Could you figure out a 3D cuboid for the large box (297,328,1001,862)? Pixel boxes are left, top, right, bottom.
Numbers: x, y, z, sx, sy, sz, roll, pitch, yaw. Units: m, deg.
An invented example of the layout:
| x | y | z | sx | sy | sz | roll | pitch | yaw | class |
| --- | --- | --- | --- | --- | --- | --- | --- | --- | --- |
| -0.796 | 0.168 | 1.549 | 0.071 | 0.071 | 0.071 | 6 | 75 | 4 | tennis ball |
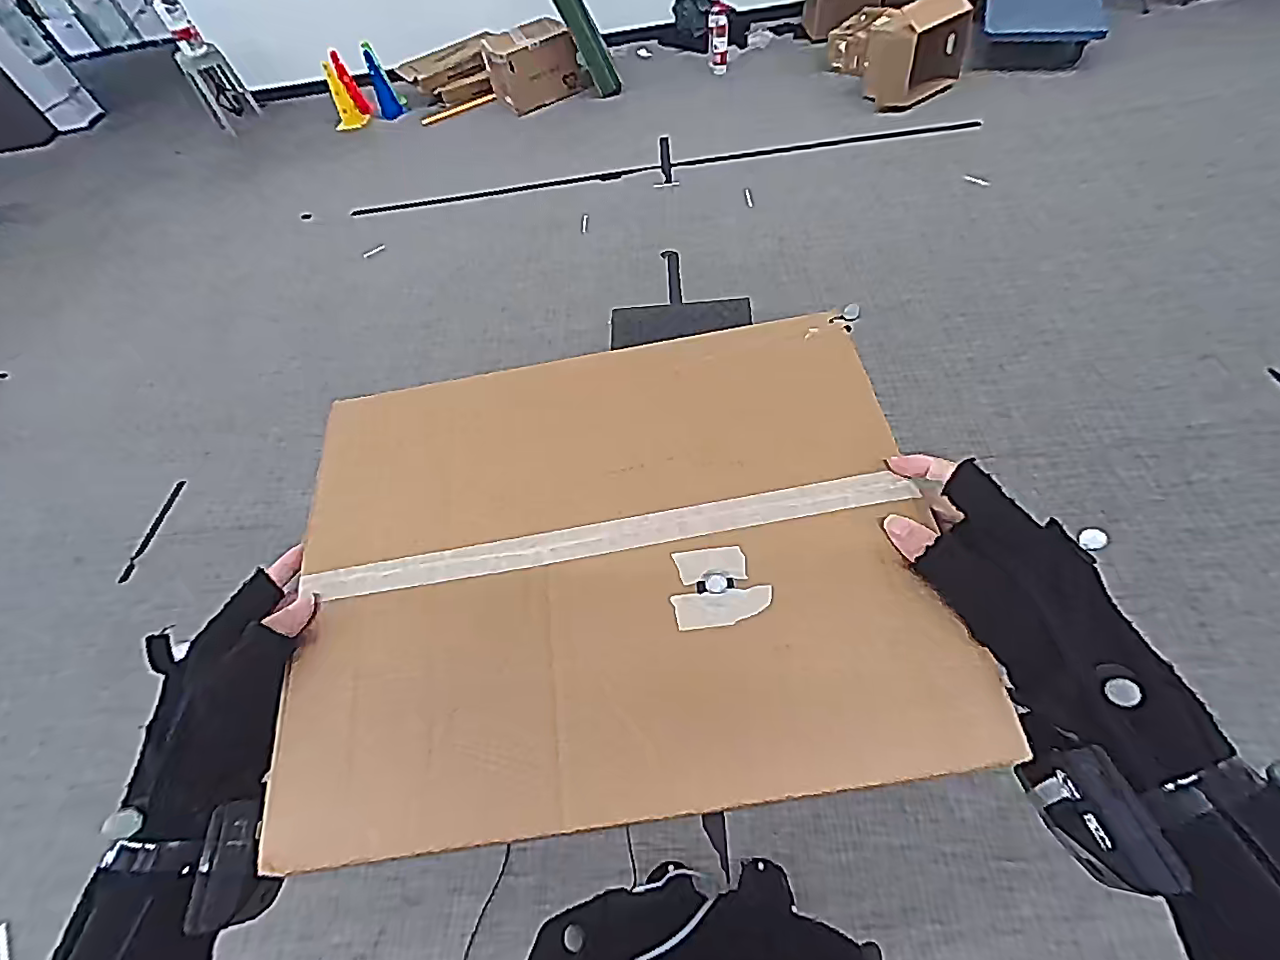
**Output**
| x | y | z | sx | sy | sz | roll | pitch | yaw | class |
| --- | --- | --- | --- | --- | --- | --- | --- | --- | --- |
| -0.004 | 0.114 | 0.496 | 0.408 | 0.320 | 0.320 | -10 | 62 | 1 | large box |
